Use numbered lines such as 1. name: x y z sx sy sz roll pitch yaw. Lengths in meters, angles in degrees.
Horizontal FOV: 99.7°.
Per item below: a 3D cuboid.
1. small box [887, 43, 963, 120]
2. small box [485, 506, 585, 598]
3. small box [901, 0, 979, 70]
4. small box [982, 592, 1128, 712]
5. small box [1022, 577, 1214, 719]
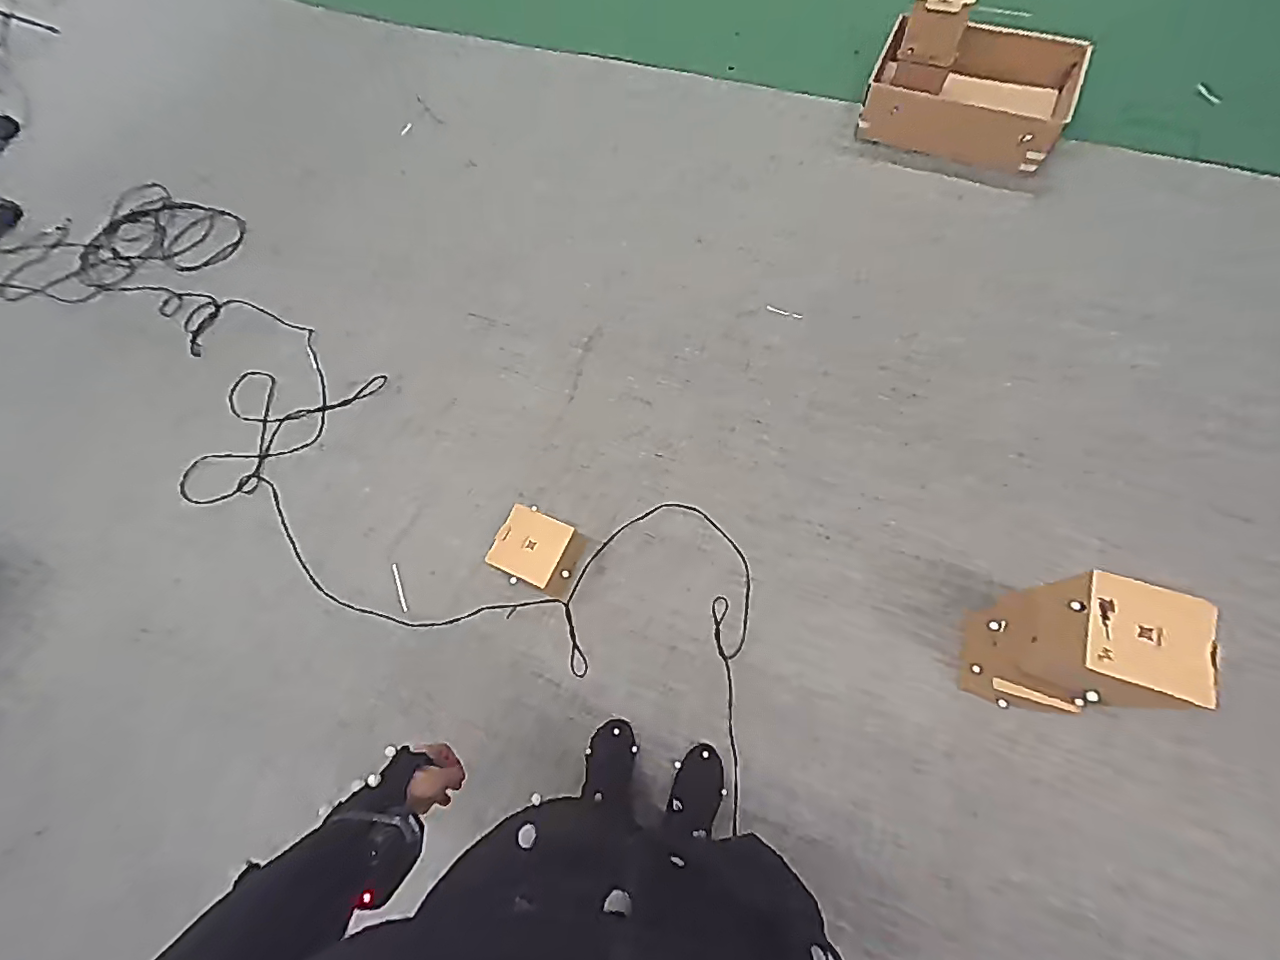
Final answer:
1. small box: 0.969 -1.381 1.850 0.168 0.176 0.179 19 72 13
2. small box: -0.259 0.192 1.395 0.179 0.176 0.168 22 71 14
3. small box: 0.945 -1.433 1.696 0.168 0.176 0.179 21 71 12
4. small box: 0.816 0.339 1.062 0.179 0.176 0.168 18 70 13
5. small box: 0.793 0.282 0.909 0.179 0.176 0.168 18 70 12
